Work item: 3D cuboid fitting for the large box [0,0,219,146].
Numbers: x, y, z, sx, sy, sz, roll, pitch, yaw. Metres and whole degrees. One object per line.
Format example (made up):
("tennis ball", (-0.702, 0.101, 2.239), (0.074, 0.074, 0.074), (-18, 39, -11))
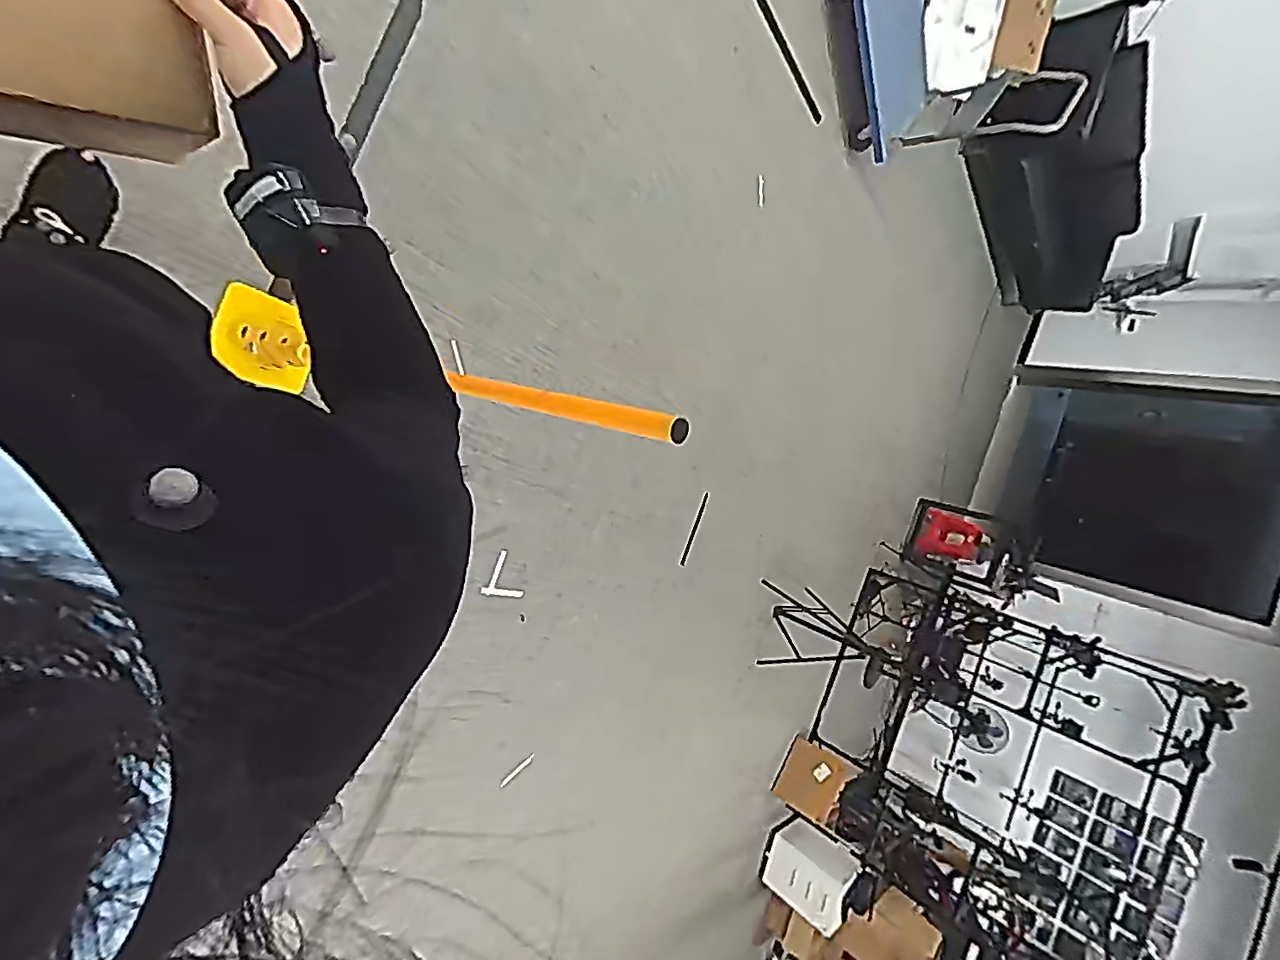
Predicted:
("large box", (-0.546, -0.427, 0.326), (0.408, 0.320, 0.320), (-12, 117, -41))
